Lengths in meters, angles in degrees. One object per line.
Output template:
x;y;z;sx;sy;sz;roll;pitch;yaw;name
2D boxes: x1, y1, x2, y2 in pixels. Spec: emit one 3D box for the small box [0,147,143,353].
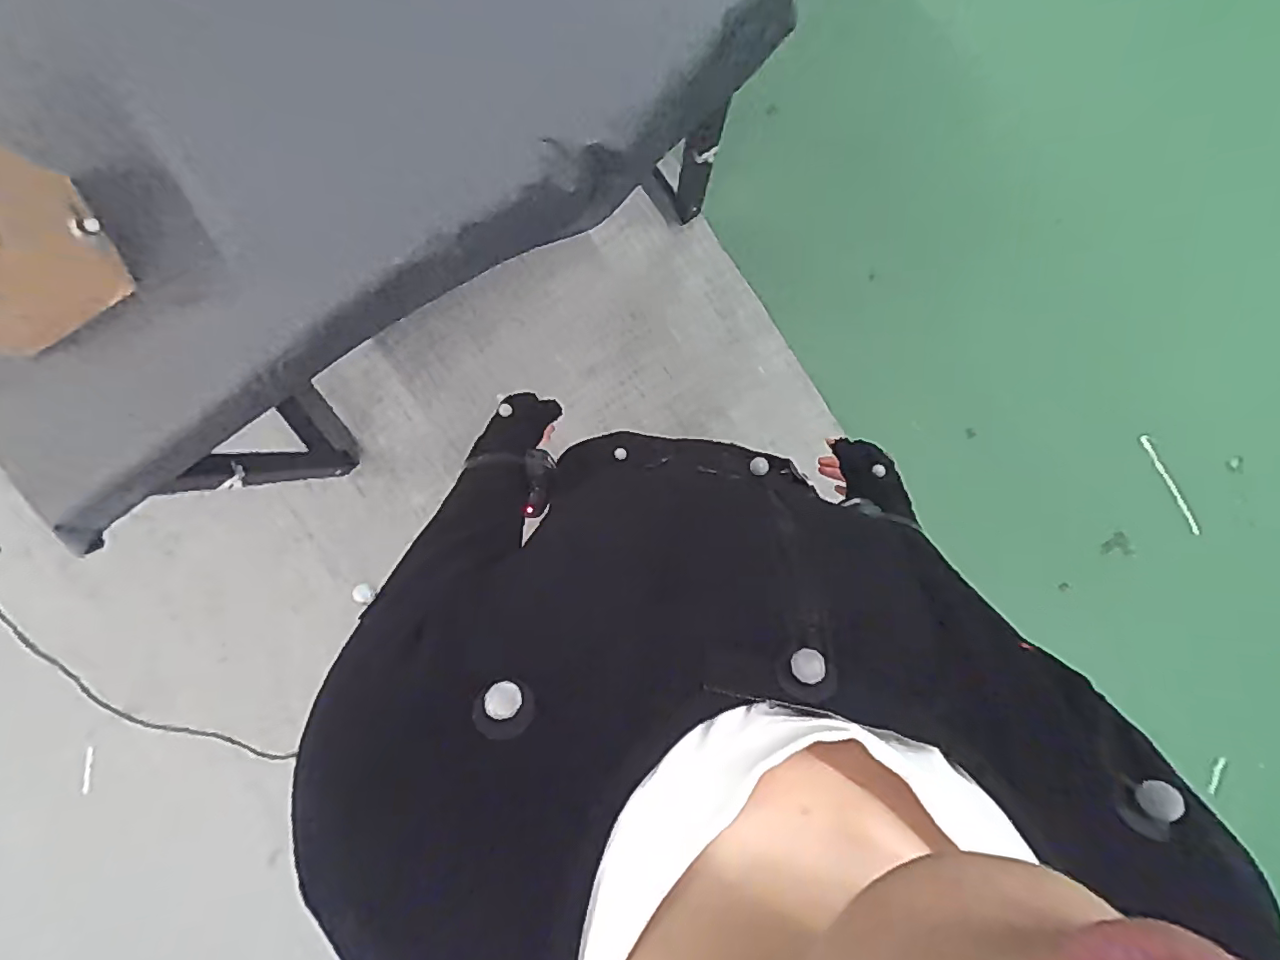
-0.759;-0.269;0.629;0.179;0.176;0.168;-32;95;0;small box
